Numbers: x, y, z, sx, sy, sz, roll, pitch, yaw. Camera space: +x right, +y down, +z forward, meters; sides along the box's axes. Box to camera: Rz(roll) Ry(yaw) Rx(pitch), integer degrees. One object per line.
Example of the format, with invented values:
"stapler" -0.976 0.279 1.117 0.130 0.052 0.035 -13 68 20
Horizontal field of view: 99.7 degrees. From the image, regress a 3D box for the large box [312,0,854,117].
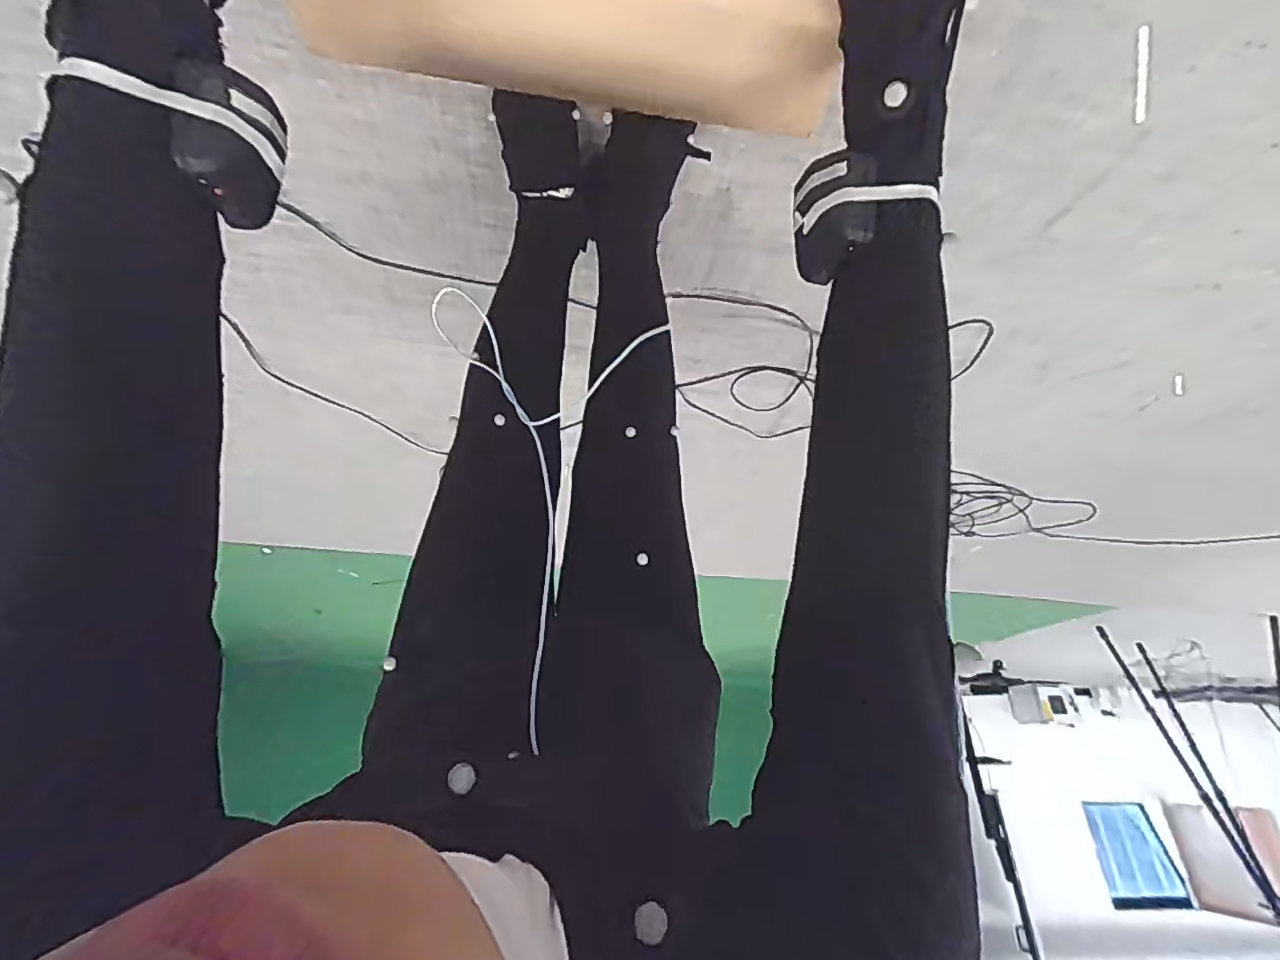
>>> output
"large box" -0.029 -0.530 0.385 0.408 0.320 0.320 5 151 -8
